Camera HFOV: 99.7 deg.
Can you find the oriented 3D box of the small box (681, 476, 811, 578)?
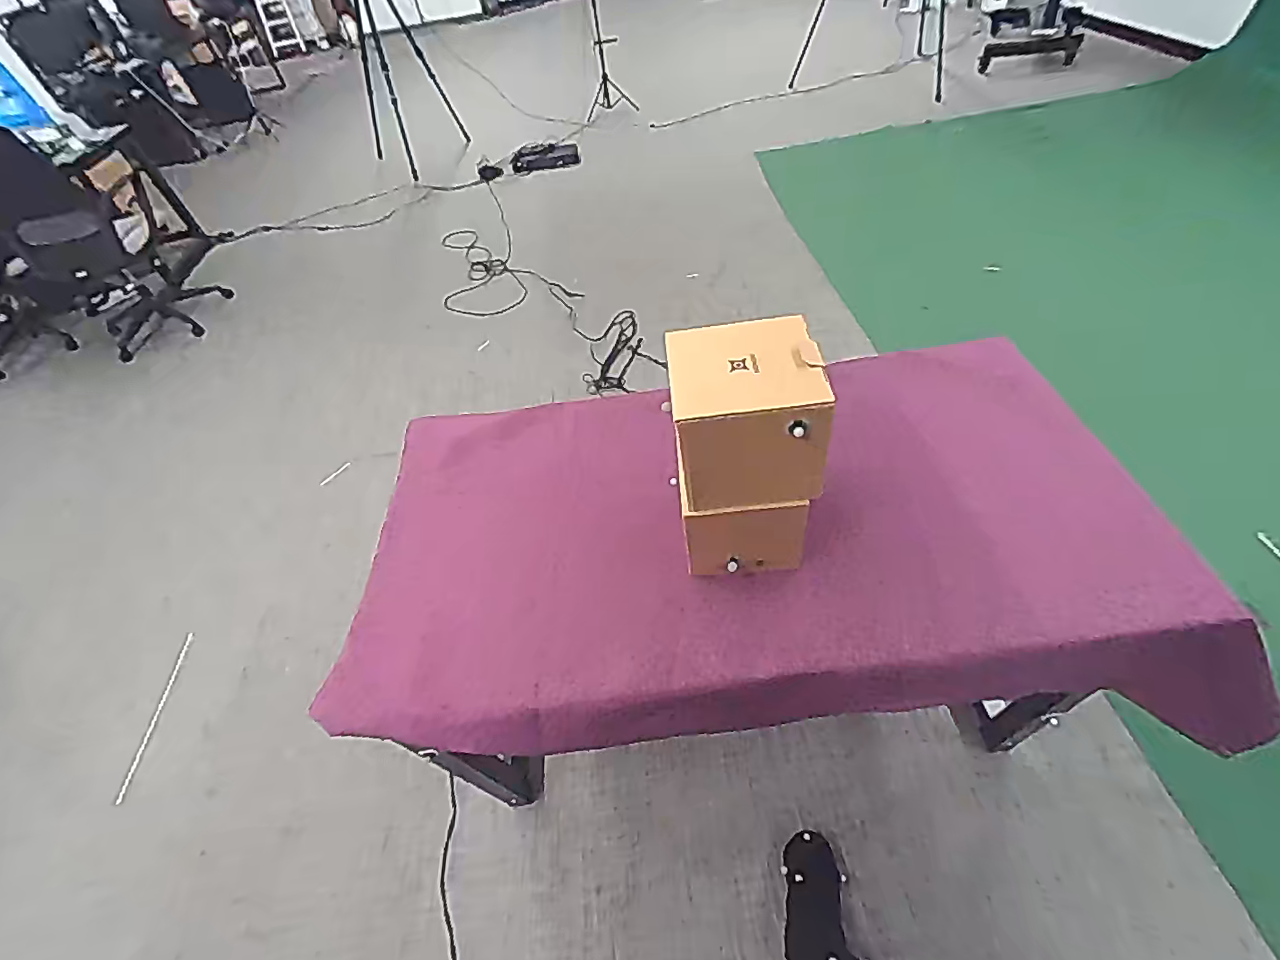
[{"bbox_3d":[0.147,0.025,0.806,0.168,0.176,0.179,-6,50,6],"label":"small box"}]

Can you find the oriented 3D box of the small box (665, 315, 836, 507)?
[{"bbox_3d":[0.131,-0.080,0.683,0.179,0.176,0.168,-7,50,5],"label":"small box"}]
